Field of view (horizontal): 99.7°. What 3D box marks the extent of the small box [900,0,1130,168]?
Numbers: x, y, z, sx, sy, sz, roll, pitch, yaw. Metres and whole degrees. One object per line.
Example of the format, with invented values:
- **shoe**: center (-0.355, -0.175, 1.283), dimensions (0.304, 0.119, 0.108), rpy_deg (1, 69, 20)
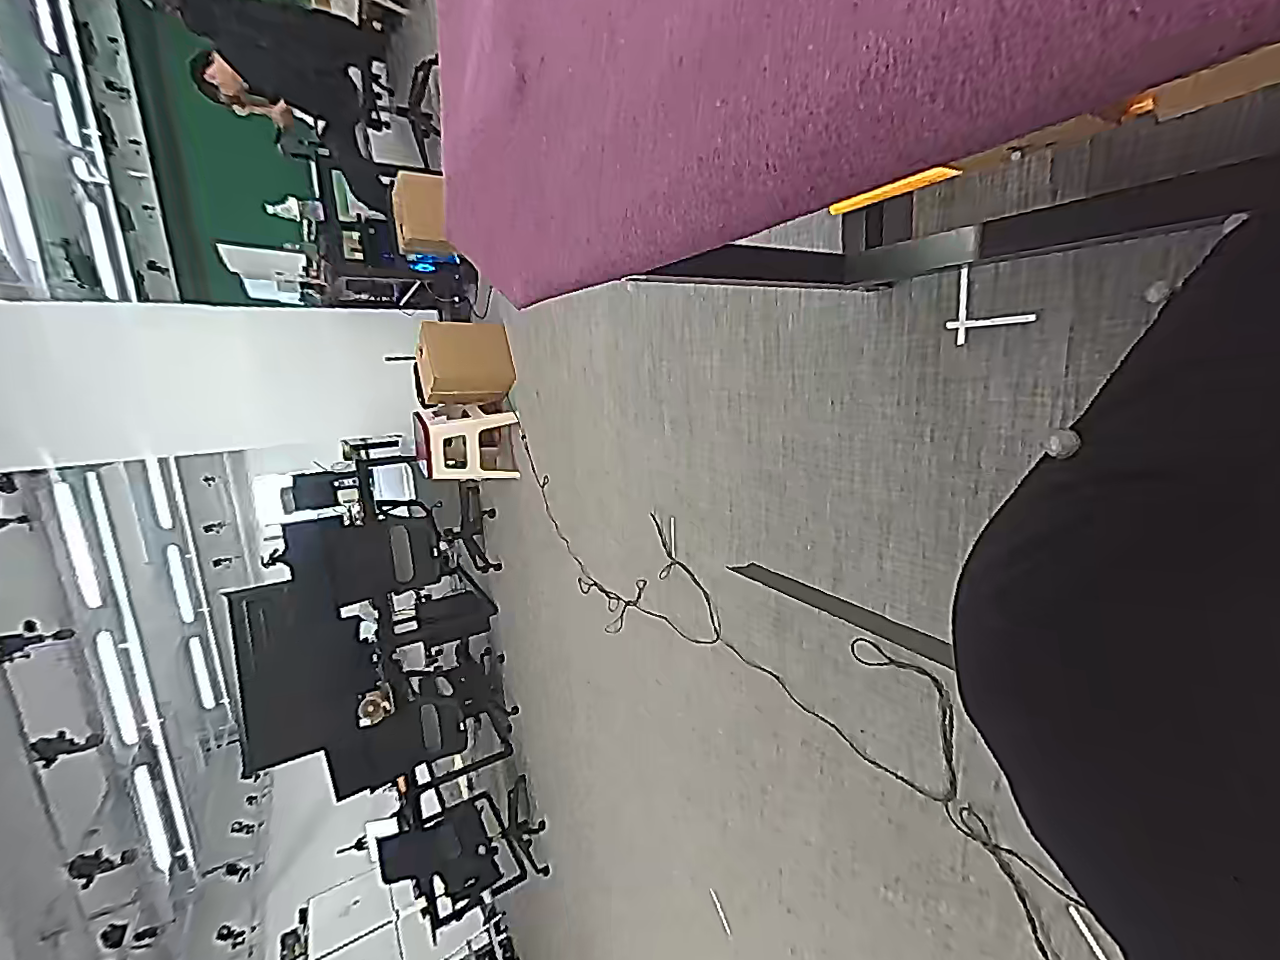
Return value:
- **small box**: center (0.425, -0.486, 0.622), dimensions (0.168, 0.176, 0.179), rpy_deg (14, 113, 58)
